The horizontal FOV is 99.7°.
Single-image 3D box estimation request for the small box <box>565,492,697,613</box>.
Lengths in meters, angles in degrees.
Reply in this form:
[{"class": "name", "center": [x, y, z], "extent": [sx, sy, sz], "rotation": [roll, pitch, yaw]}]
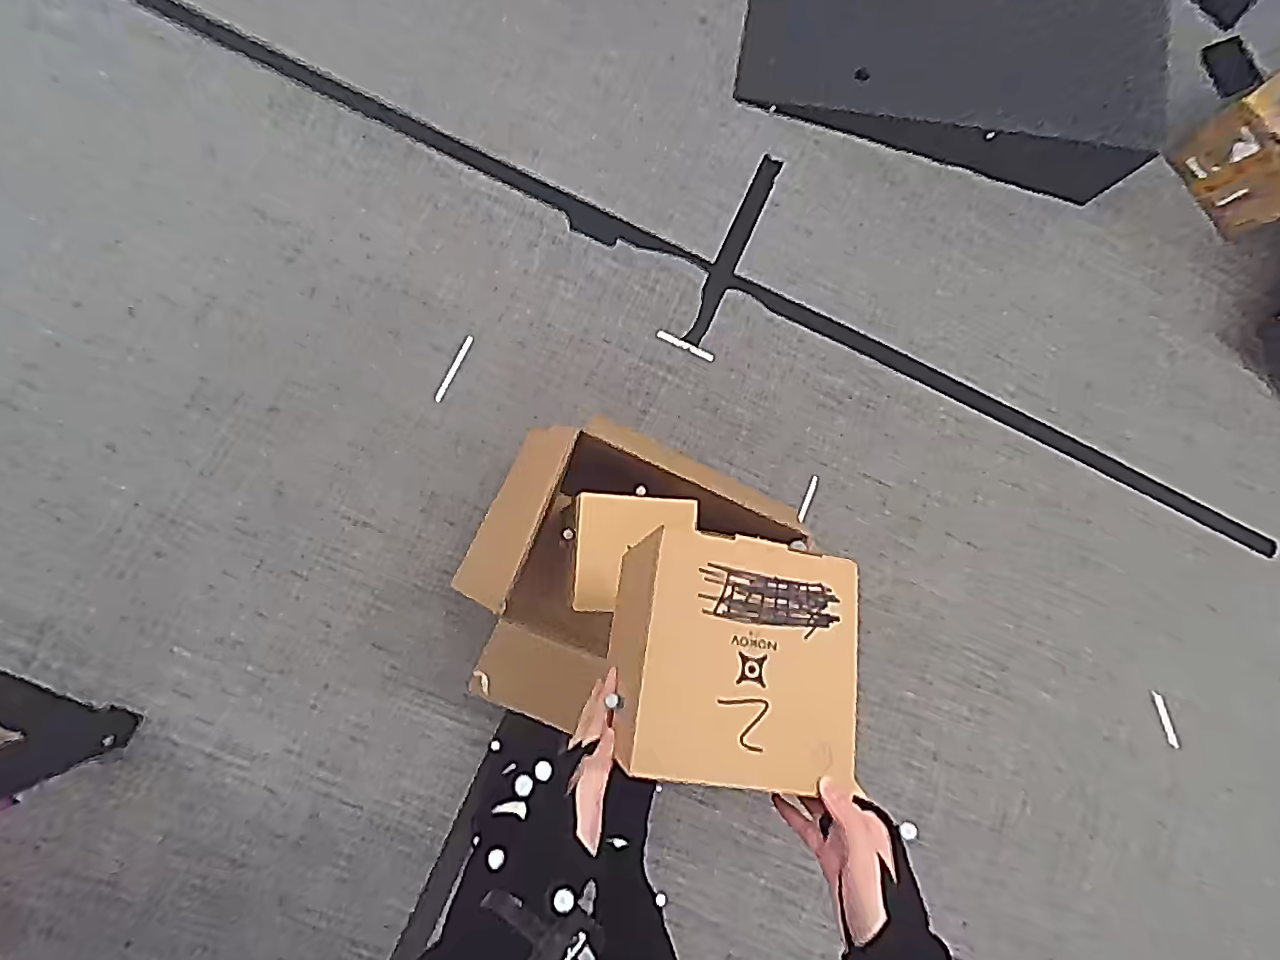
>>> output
[{"class": "small box", "center": [-0.022, 0.113, 0.846], "extent": [0.179, 0.176, 0.168], "rotation": [4, 84, -13]}]
